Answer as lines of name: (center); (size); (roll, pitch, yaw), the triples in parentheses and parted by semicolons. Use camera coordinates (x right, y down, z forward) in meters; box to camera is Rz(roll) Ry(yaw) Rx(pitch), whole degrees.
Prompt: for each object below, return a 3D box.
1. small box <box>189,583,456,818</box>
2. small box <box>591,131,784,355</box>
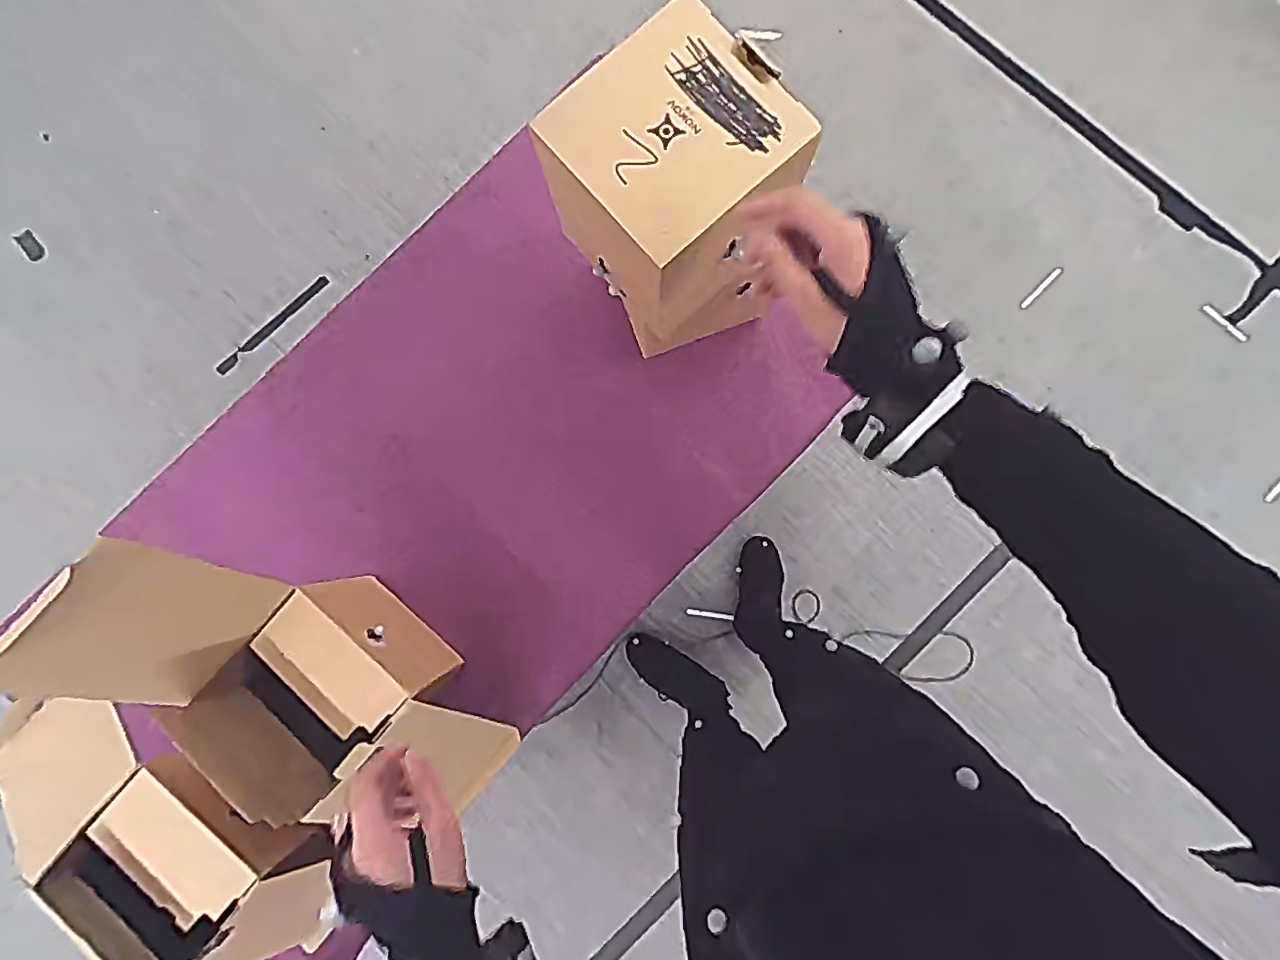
small box: (-0.353, 0.238, 0.641); (0.179, 0.176, 0.168); (41, 86, 5)
small box: (0.052, -0.279, 0.674); (0.179, 0.176, 0.168); (-20, 84, 0)
